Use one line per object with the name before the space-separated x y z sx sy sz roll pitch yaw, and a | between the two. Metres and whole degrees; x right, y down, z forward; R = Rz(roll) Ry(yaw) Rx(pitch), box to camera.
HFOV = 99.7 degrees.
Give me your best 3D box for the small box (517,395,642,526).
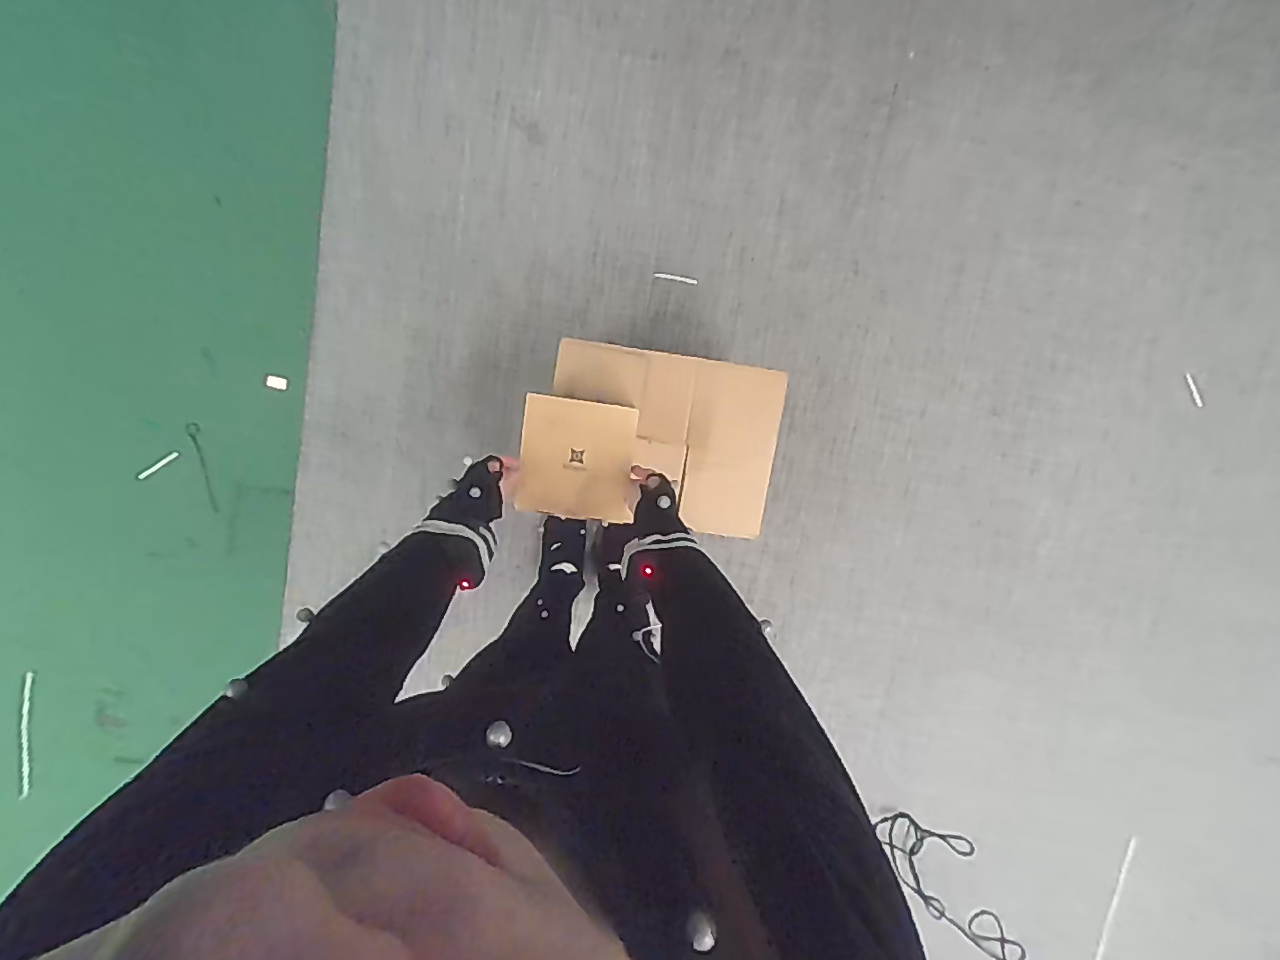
small box | -0.094 -0.040 0.869 0.168 0.176 0.179 8 100 -4
